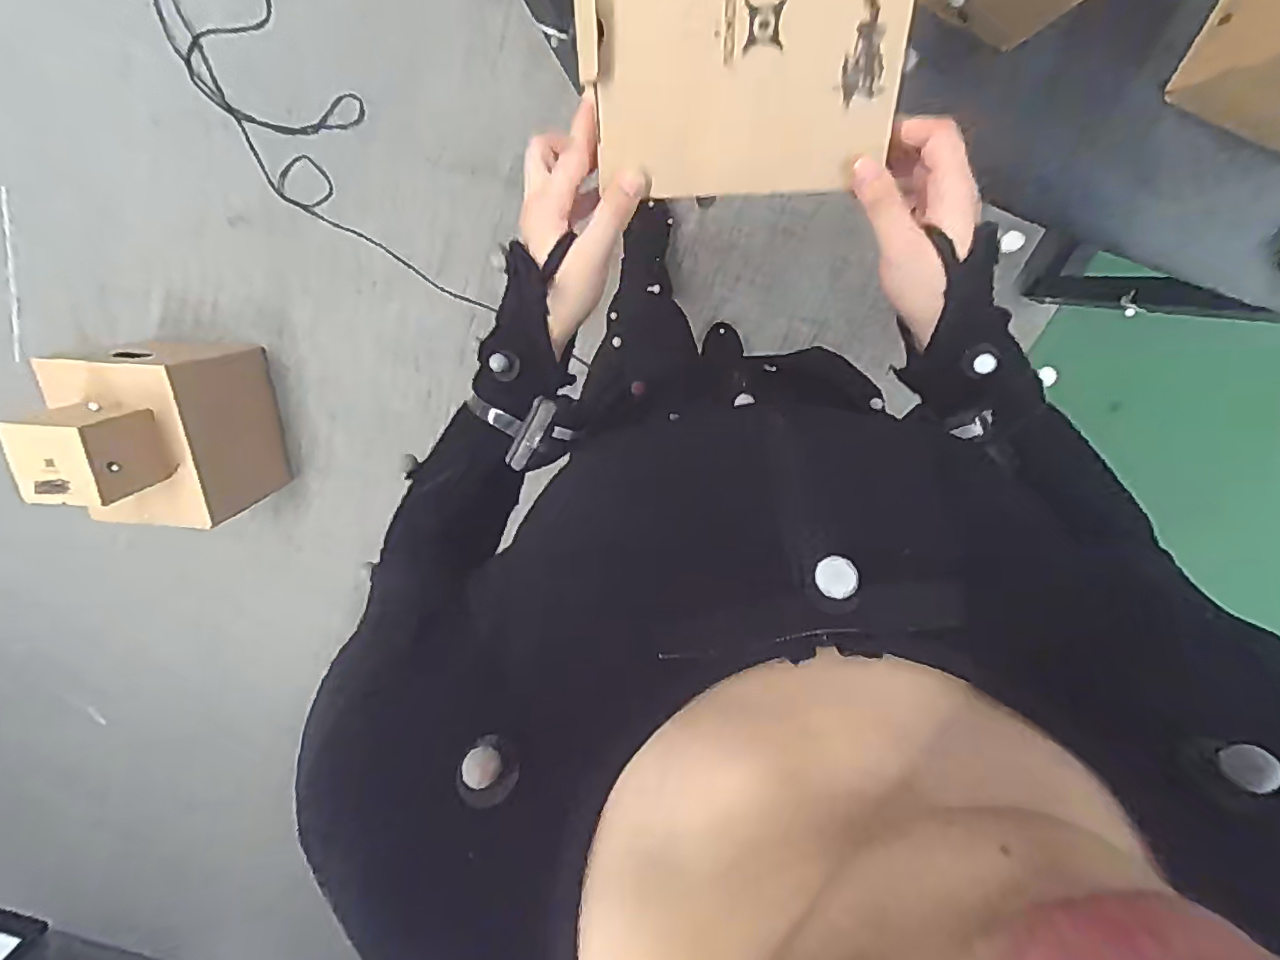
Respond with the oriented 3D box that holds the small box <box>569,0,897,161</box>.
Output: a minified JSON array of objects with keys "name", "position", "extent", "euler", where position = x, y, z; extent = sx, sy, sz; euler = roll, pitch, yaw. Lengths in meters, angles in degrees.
[{"name":"small box","position":[0.054,-0.304,0.350],"extent":[0.179,0.176,0.168],"euler":[0,122,5]}]

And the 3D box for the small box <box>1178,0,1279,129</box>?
[{"name":"small box","position":[0.637,-0.415,0.447],"extent":[0.179,0.176,0.168],"euler":[20,110,-3]}]

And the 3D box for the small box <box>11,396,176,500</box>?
[{"name":"small box","position":[-1.171,-0.073,1.178],"extent":[0.168,0.176,0.179],"euler":[4,112,1]}]

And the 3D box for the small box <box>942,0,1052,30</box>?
[{"name":"small box","position":[0.324,-0.521,0.428],"extent":[0.168,0.176,0.179],"euler":[24,110,-5]}]
